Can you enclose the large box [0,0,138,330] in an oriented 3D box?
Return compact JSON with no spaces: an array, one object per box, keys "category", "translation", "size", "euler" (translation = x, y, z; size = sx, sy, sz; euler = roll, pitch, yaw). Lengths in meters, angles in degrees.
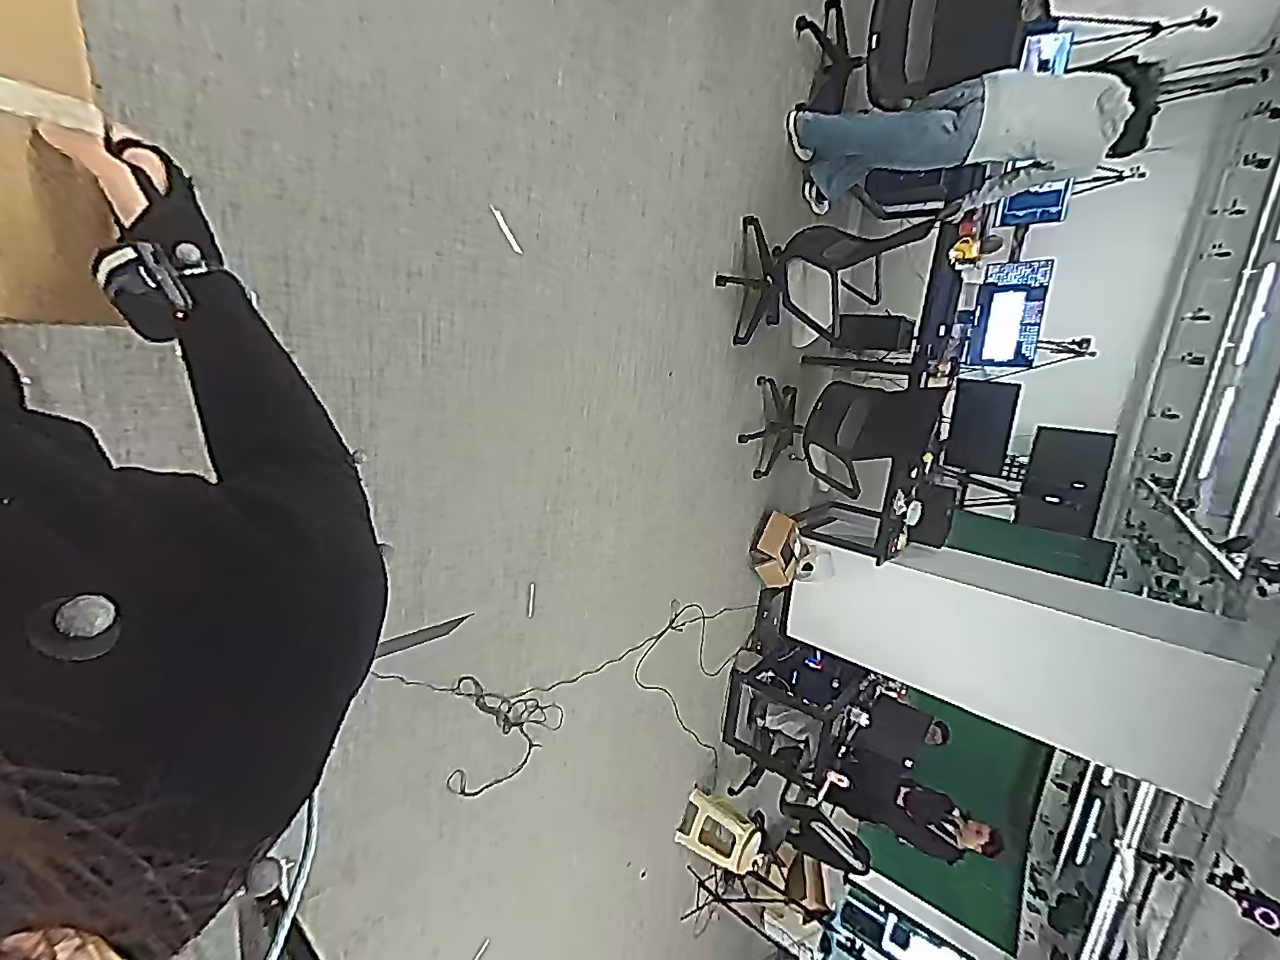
[{"category":"large box","translation":[-0.662,-0.273,0.369],"size":[0.408,0.320,0.320],"euler":[-13,109,-50]}]
